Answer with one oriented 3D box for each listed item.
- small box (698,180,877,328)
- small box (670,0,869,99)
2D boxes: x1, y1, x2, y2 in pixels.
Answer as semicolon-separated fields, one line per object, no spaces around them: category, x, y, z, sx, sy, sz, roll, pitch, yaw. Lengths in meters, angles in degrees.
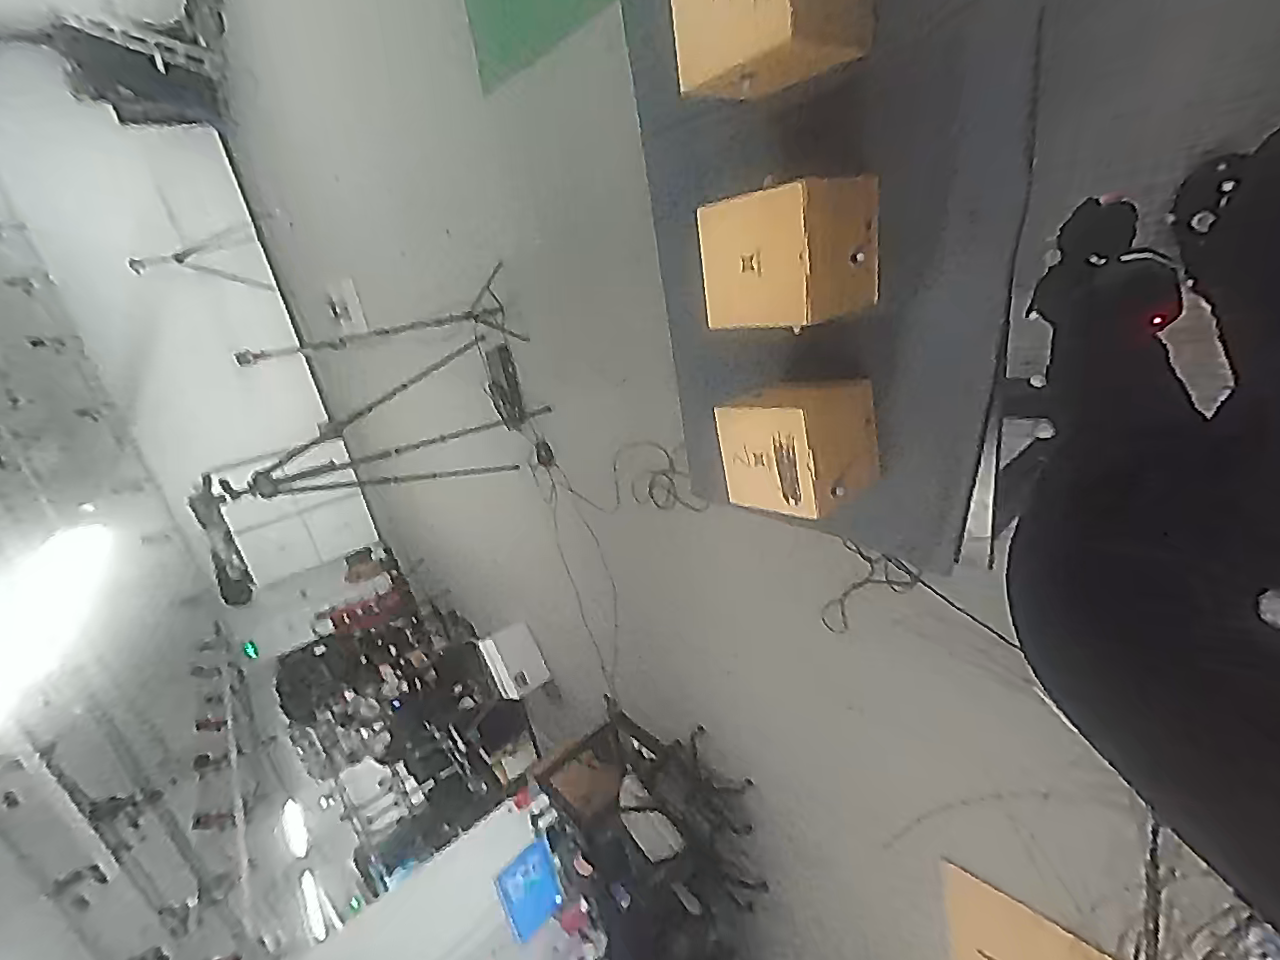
small box;0.208;-0.312;0.761;0.179;0.176;0.168;15;121;48
small box;0.155;-0.586;0.657;0.179;0.176;0.168;16;123;48
